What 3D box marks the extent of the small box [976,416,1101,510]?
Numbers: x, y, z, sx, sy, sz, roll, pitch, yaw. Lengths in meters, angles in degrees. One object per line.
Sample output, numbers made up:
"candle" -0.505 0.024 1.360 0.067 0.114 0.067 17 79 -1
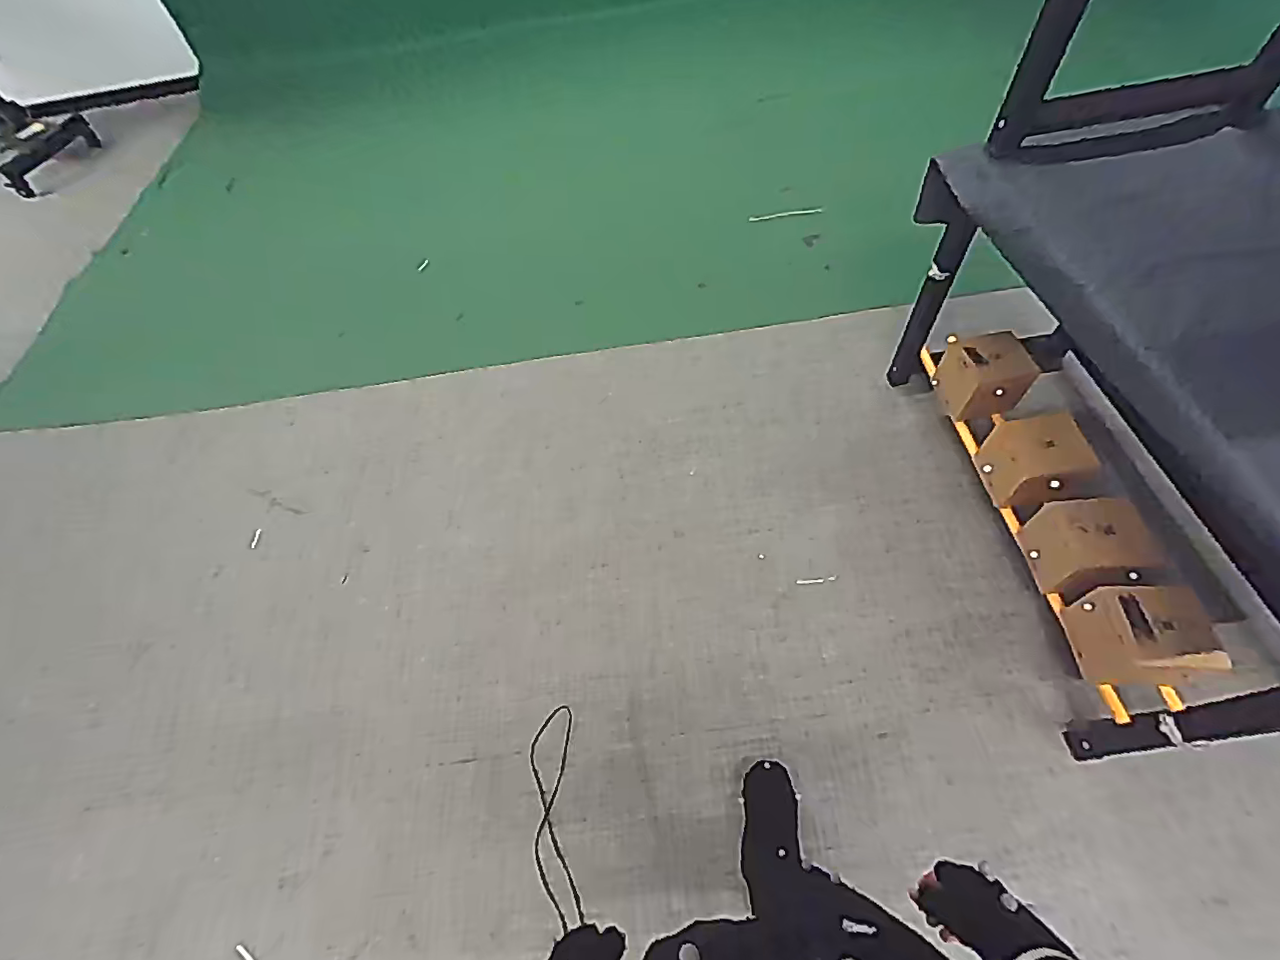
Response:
"small box" 1.009 -0.040 1.388 0.179 0.176 0.168 -8 58 5
